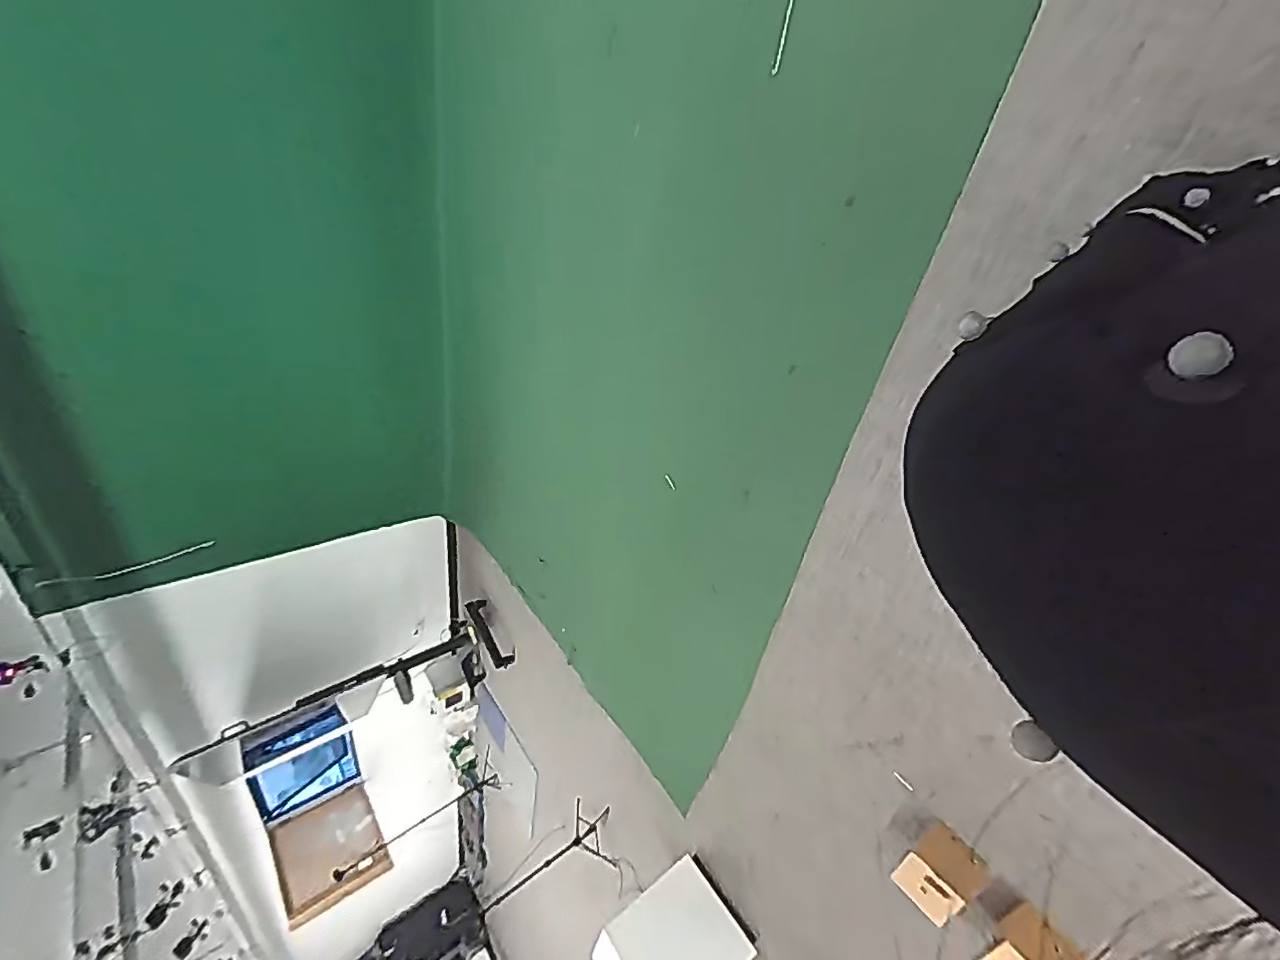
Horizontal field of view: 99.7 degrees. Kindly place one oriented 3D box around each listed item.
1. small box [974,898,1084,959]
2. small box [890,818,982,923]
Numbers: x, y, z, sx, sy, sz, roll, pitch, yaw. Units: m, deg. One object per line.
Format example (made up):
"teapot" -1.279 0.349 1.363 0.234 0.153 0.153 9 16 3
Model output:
"small box" 1.073 1.314 1.488 0.168 0.176 0.179 39 131 37
"small box" 0.908 1.185 1.652 0.168 0.176 0.179 39 132 38
